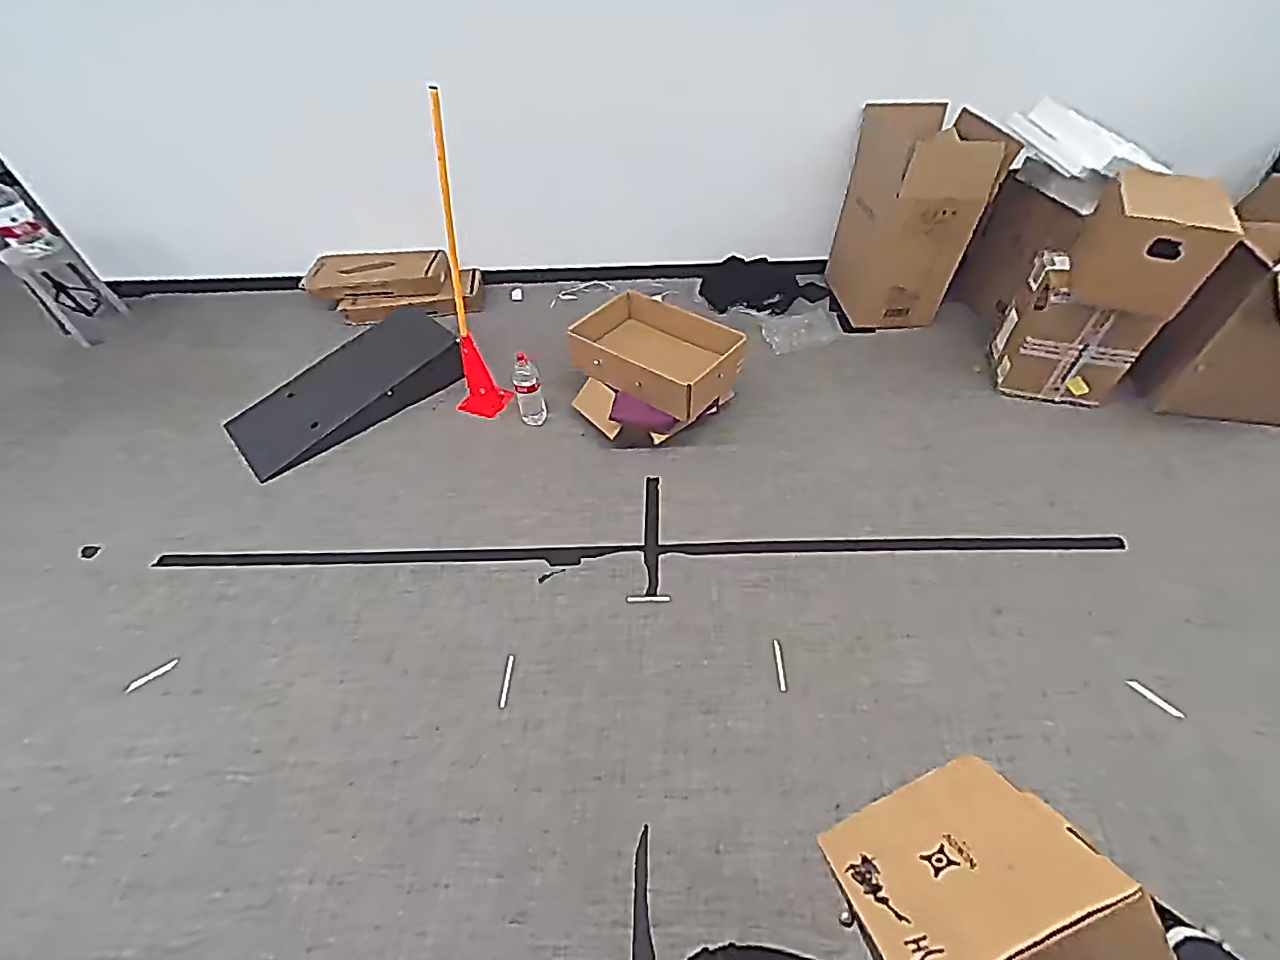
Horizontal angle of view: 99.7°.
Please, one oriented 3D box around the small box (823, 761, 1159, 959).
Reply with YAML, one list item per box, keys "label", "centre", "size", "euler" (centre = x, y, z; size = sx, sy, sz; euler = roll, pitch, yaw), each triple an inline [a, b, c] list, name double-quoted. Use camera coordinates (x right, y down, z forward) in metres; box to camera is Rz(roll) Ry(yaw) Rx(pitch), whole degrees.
- label: "small box"
  centre: [0.291, 0.387, 0.452]
  size: [0.179, 0.168, 0.176]
  euler: [-25, 93, -3]
